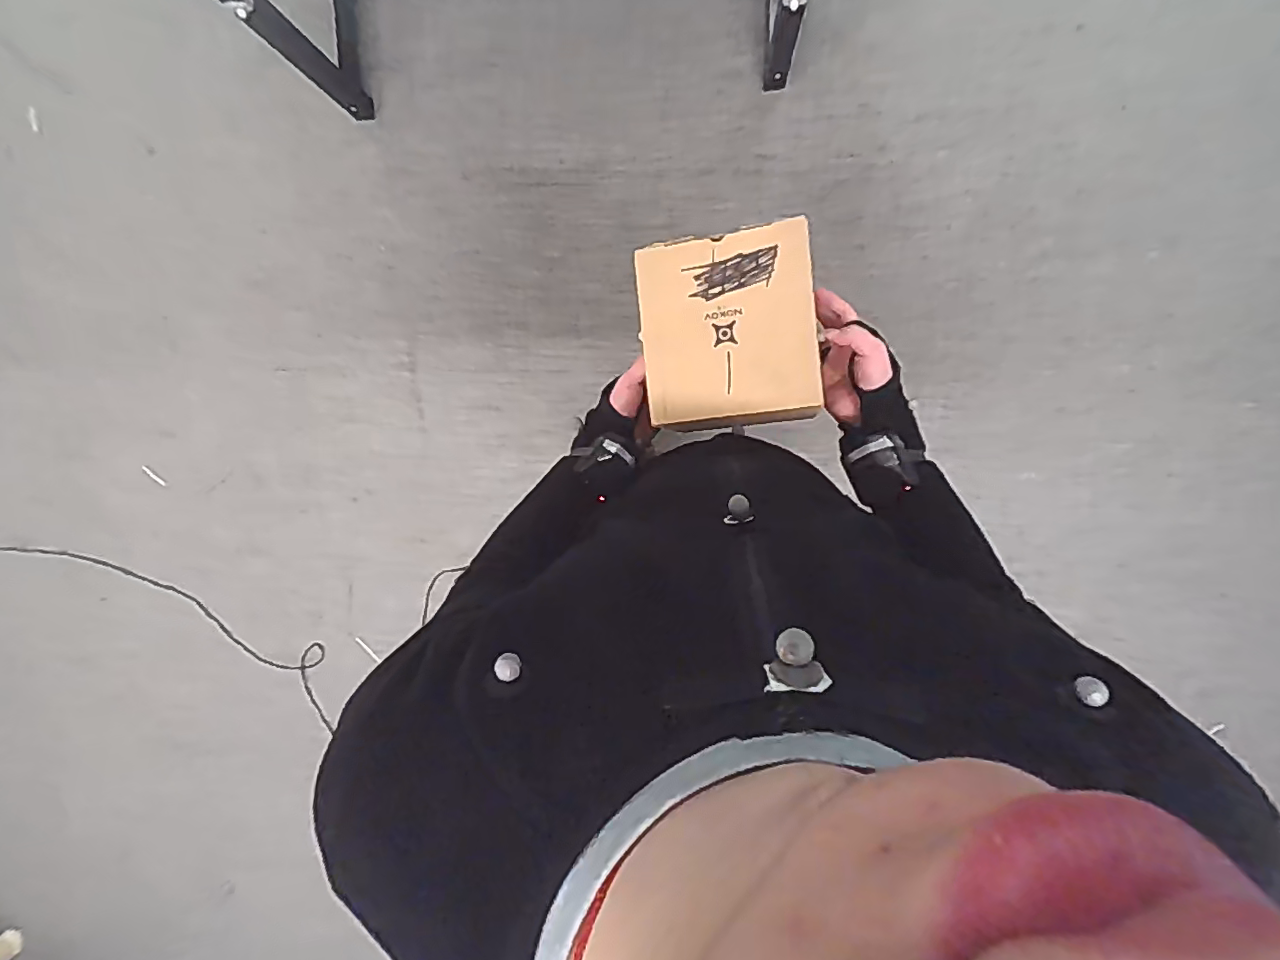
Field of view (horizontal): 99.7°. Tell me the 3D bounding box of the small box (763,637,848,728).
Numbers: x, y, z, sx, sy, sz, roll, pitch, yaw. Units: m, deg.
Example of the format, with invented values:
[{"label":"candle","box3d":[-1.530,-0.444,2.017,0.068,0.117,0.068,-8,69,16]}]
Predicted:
[{"label":"small box","box3d":[0.460,0.564,1.526,0.179,0.176,0.168,13,96,4]}]
